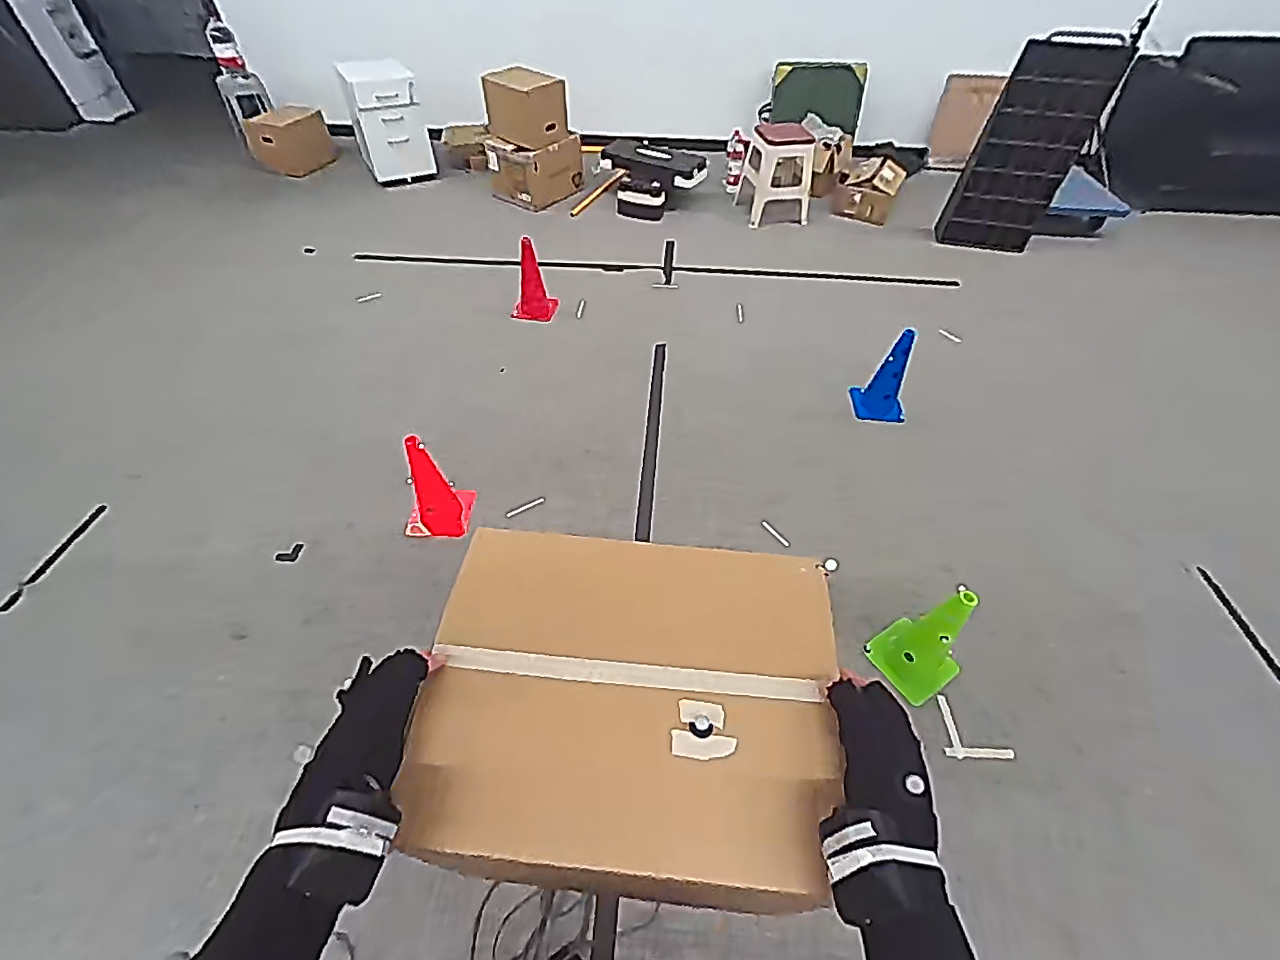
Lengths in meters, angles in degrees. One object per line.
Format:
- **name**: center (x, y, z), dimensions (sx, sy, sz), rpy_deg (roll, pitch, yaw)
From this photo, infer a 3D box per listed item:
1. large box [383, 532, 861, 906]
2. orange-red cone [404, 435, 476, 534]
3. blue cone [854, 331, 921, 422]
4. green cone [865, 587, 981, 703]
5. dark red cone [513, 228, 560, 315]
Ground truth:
- **large box**: center (-0.012, 0.289, 0.648), dimensions (0.408, 0.320, 0.320), rpy_deg (5, 50, 2)
- **orange-red cone**: center (-0.674, -0.004, 1.724), dimensions (0.198, 0.360, 0.199), rpy_deg (1, 50, 1)
- **blue cone**: center (1.012, -0.424, 2.153), dimensions (0.192, 0.380, 0.193), rpy_deg (7, 49, 3)
- **green cone**: center (0.777, 0.393, 1.406), dimensions (0.202, 0.368, 0.200), rpy_deg (-25, 54, -23)
- **dark red cone**: center (-0.507, -0.987, 2.559), dimensions (0.201, 0.394, 0.202), rpy_deg (9, 49, 5)
